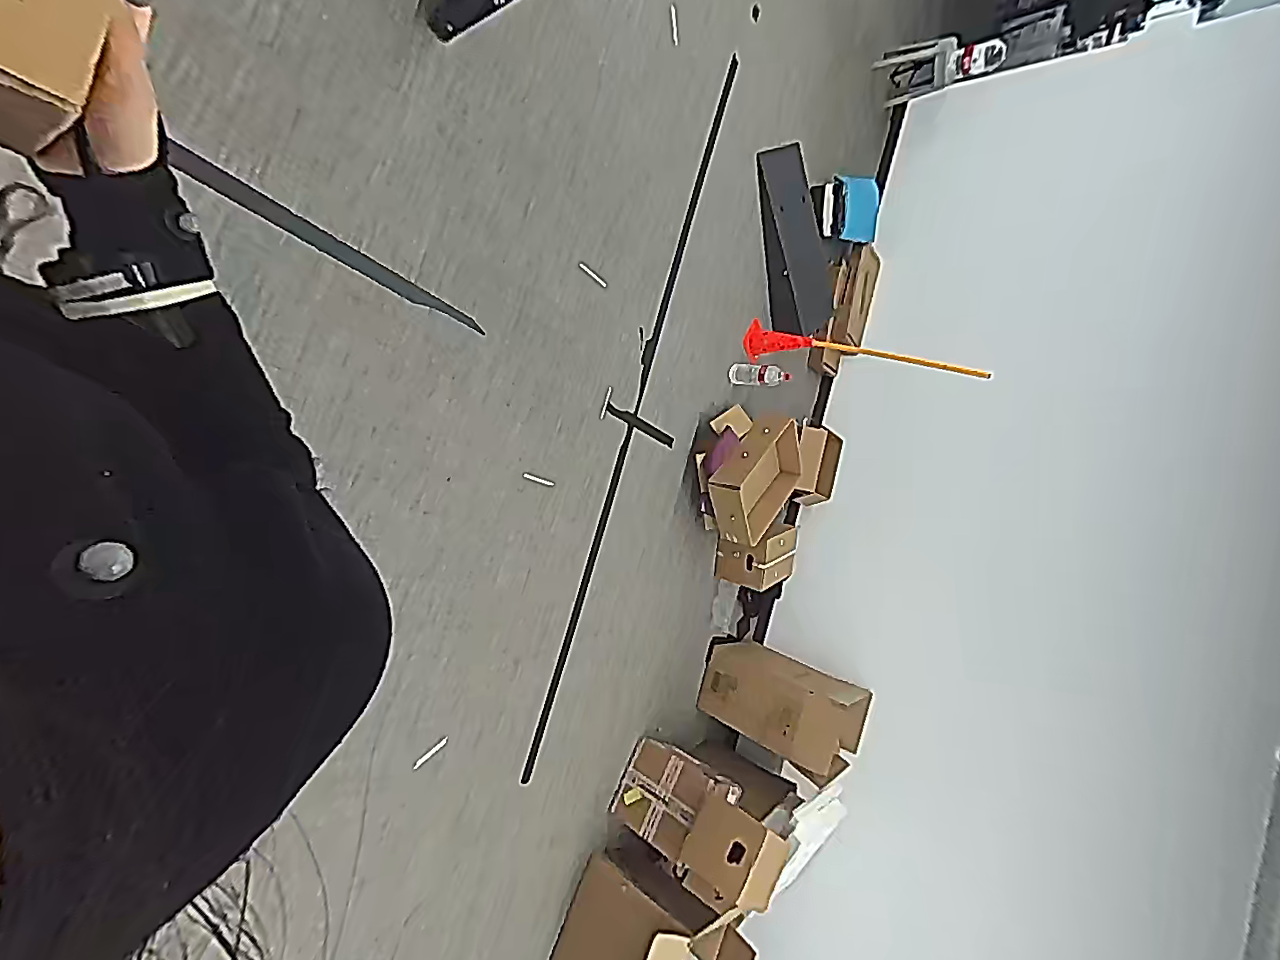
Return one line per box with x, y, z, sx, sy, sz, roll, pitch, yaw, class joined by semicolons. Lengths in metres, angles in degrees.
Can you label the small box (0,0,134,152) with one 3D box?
-0.310;-0.261;0.207;0.168;0.176;0.179;17;89;-55;small box
